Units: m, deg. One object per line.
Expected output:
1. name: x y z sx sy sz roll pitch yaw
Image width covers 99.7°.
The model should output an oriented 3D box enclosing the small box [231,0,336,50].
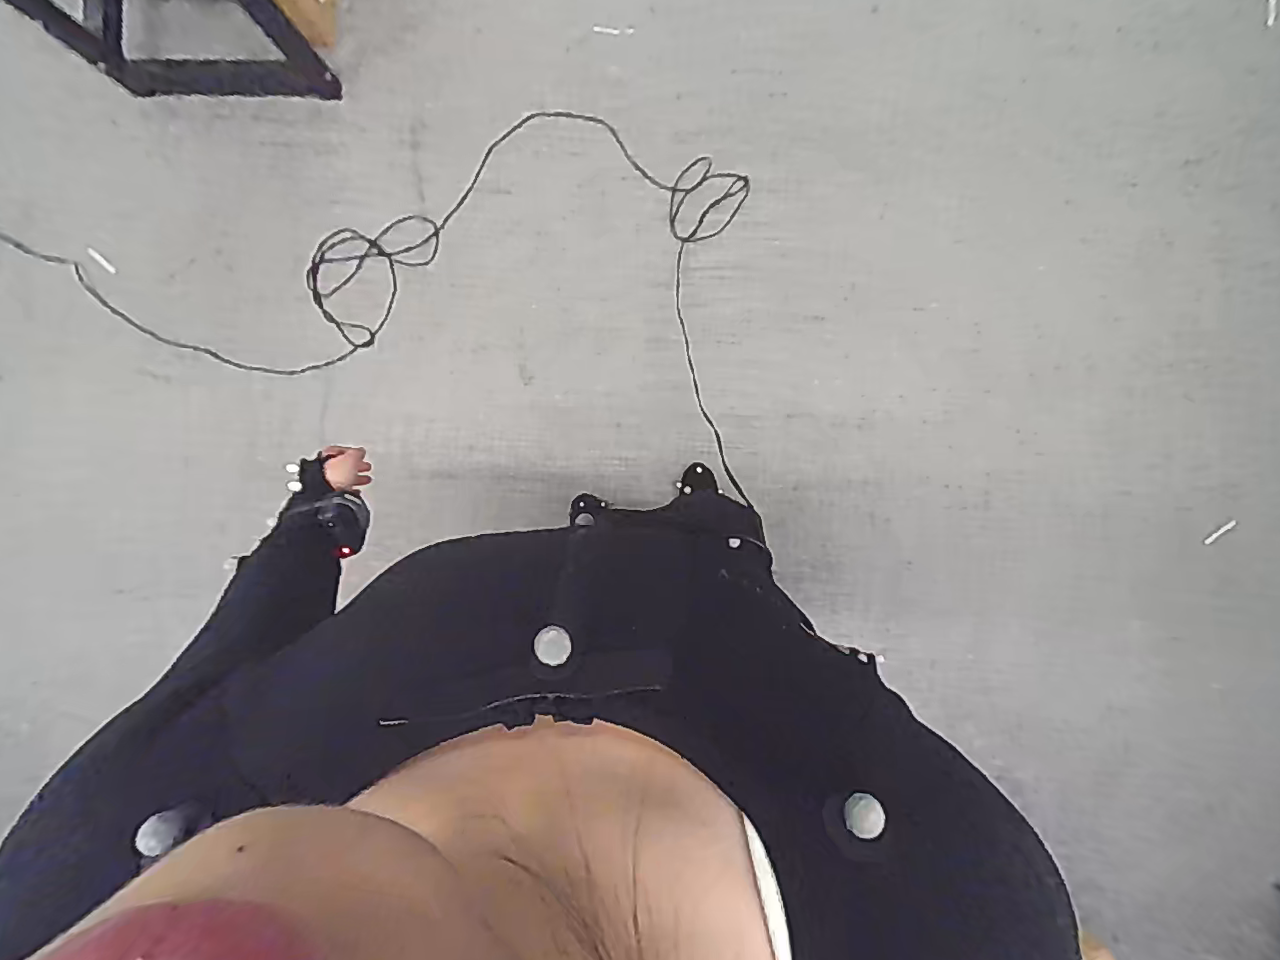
1. small box: -0.915 -1.256 1.393 0.179 0.176 0.168 6 92 1
